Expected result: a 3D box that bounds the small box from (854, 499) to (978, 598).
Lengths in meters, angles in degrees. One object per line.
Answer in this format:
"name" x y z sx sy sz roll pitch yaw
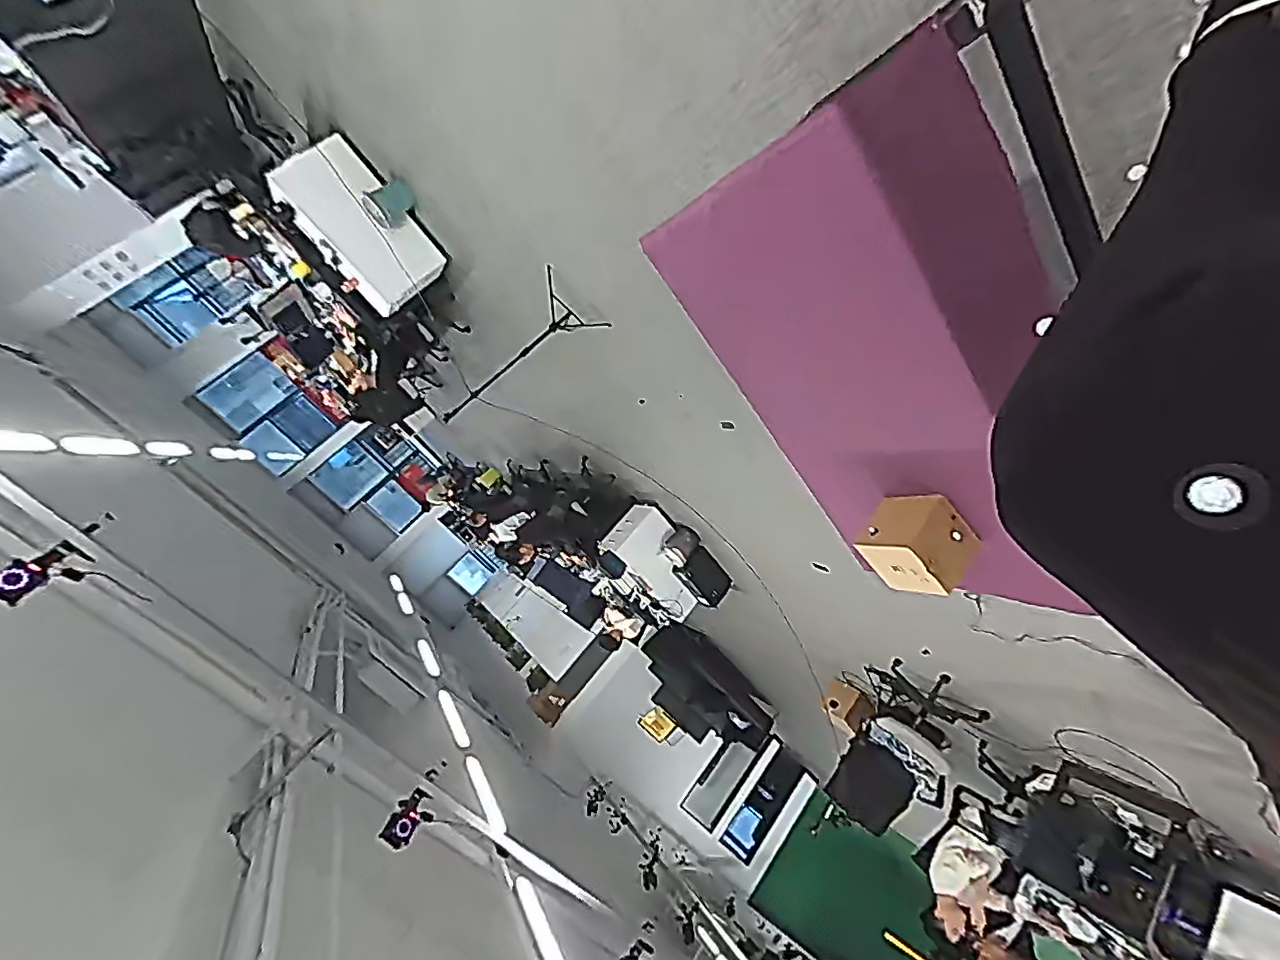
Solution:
"small box" 0.670 0.161 1.313 0.168 0.176 0.179 46 161 -12
